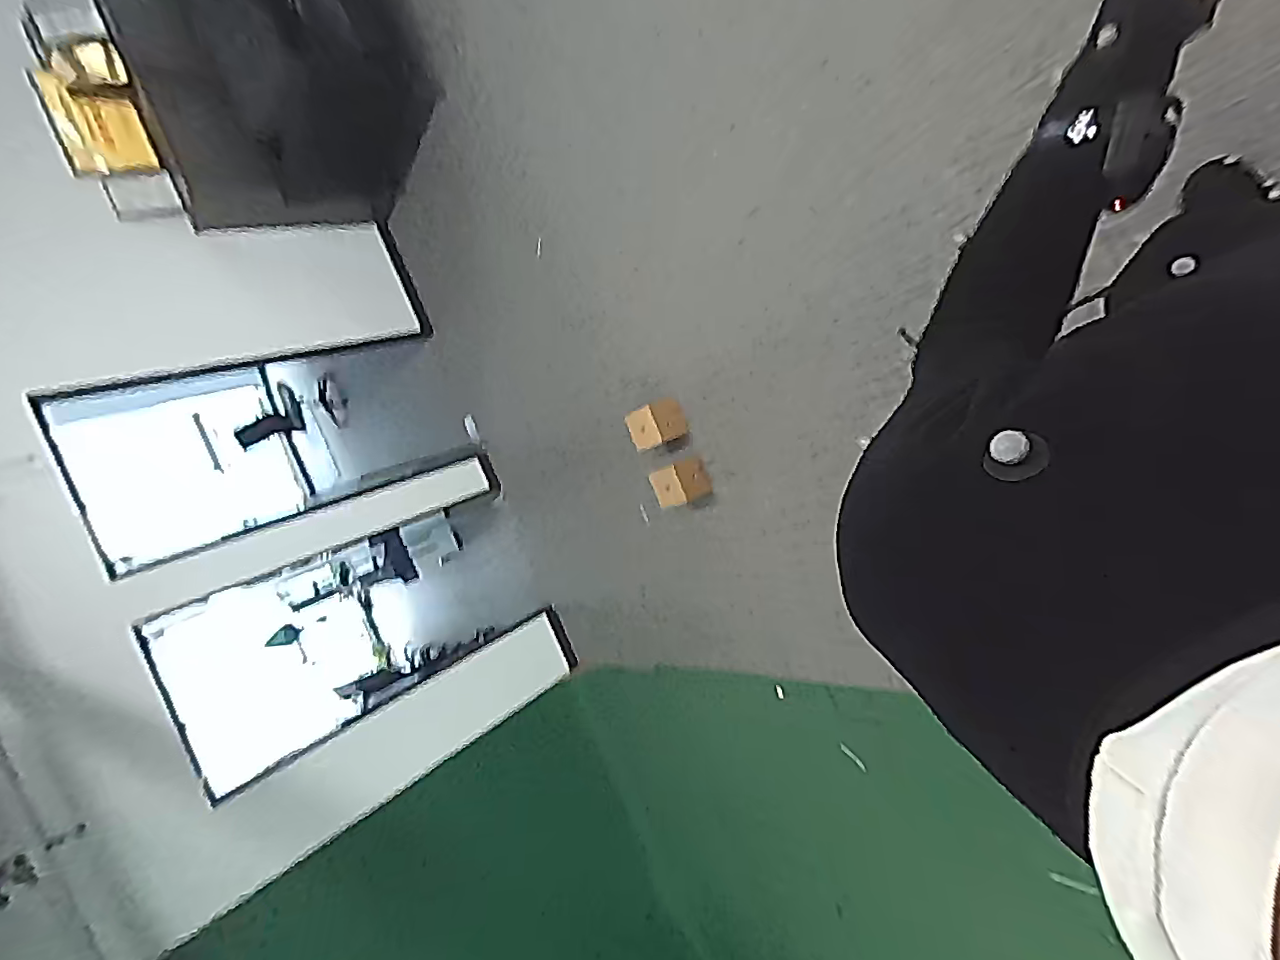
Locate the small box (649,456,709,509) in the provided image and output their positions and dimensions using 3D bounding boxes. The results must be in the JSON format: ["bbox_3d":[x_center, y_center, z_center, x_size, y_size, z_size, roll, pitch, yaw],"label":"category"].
[{"bbox_3d":[0.174,0.009,2.332,0.179,0.176,0.168,-19,93,52],"label":"small box"}]

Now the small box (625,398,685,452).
[{"bbox_3d":[0.072,-0.238,2.326,0.179,0.176,0.168,-19,94,52],"label":"small box"}]
